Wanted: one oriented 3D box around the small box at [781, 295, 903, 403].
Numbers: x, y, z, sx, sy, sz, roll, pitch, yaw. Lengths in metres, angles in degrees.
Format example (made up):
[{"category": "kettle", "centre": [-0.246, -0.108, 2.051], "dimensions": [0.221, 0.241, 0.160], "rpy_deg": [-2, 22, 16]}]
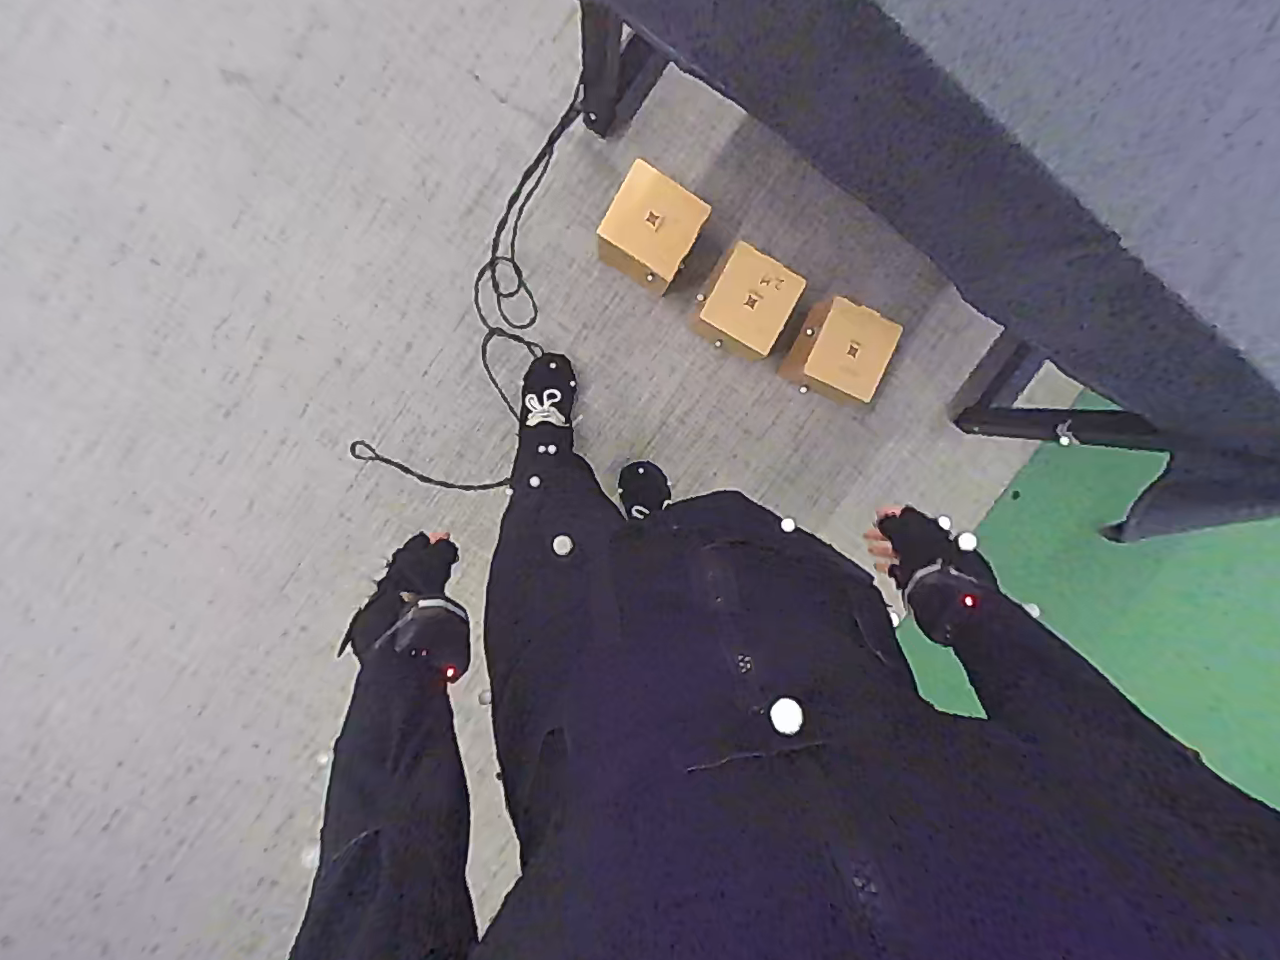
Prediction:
[{"category": "small box", "centre": [0.439, -0.284, 1.206], "dimensions": [0.168, 0.176, 0.179], "rpy_deg": [22, 96, -8]}]
